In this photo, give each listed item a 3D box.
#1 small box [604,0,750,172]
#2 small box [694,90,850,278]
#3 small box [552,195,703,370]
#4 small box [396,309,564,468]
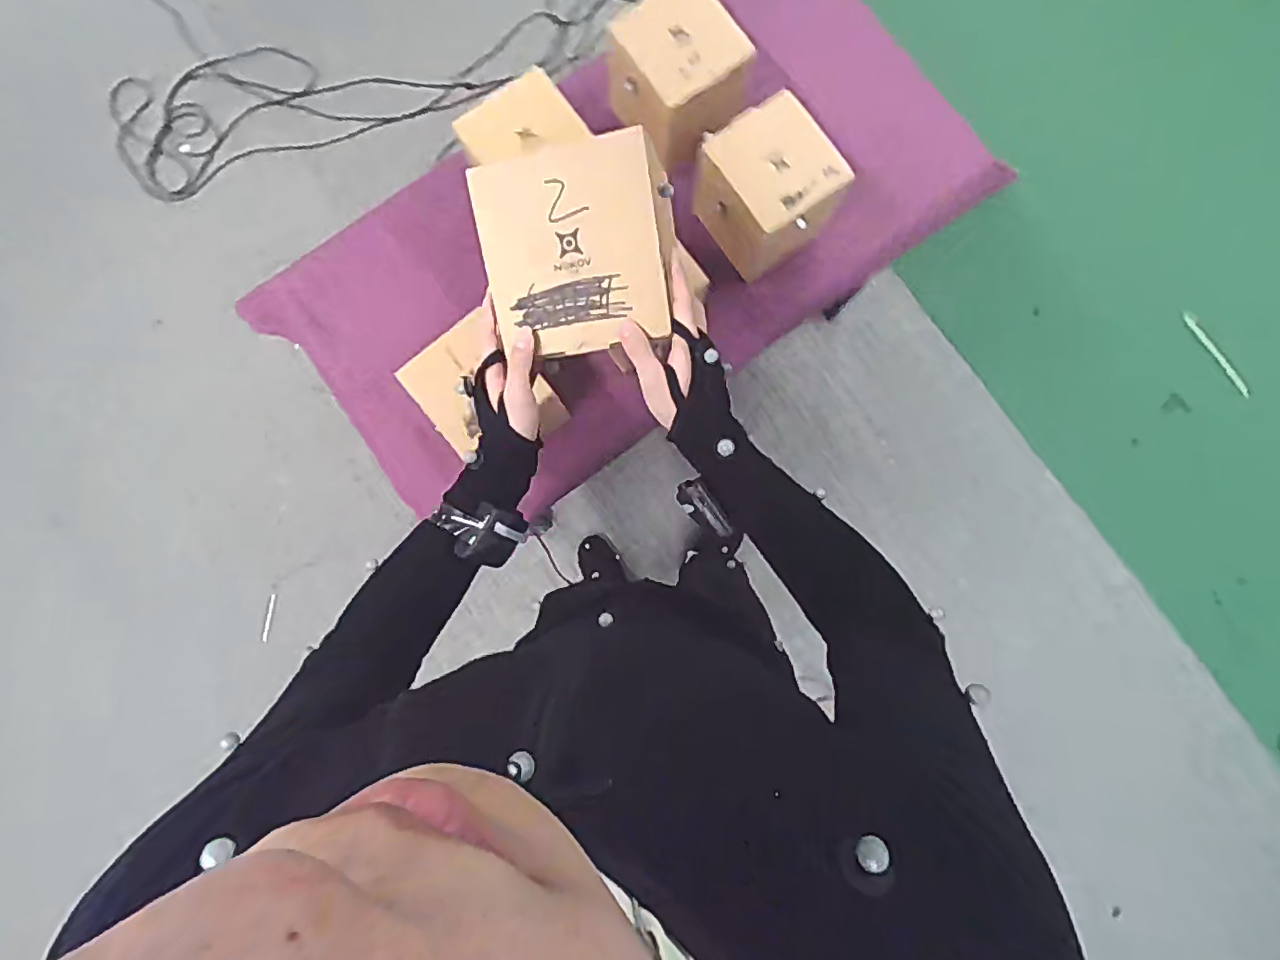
[{"bbox_3d":[0.057,-0.676,0.915,0.168,0.176,0.179,-35,86,-1],"label":"small box"},{"bbox_3d":[0.203,-0.476,0.895,0.168,0.176,0.179,-35,84,-1],"label":"small box"},{"bbox_3d":[-0.018,-0.311,0.888,0.168,0.176,0.179,-36,86,-1],"label":"small box"},{"bbox_3d":[-0.244,-0.134,0.874,0.168,0.176,0.179,-39,83,-3],"label":"small box"}]
